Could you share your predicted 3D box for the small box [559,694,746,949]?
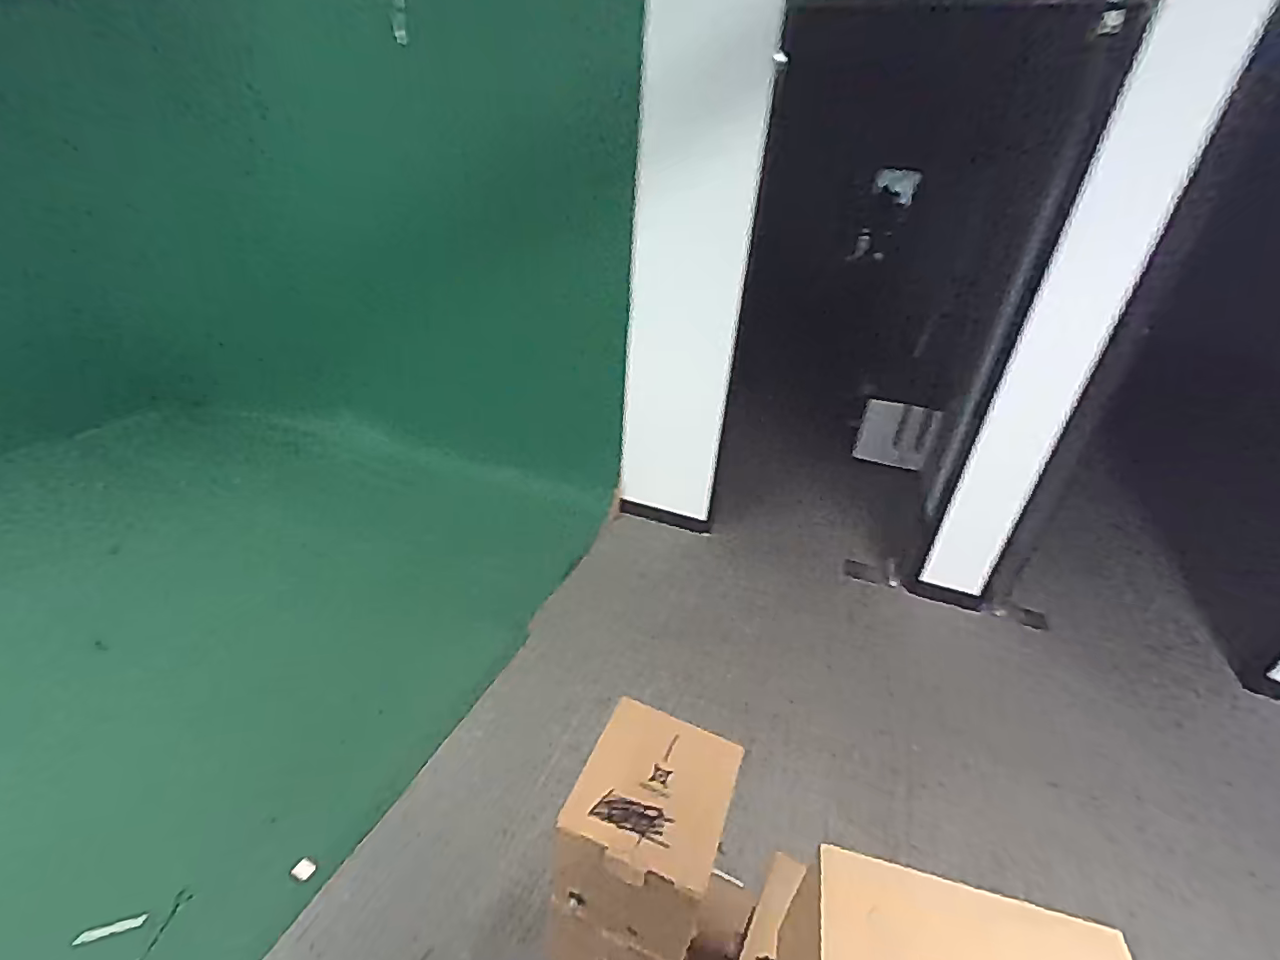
[{"bbox_3d":[0.017,0.405,0.651,0.168,0.176,0.179,16,32,16],"label":"small box"}]
